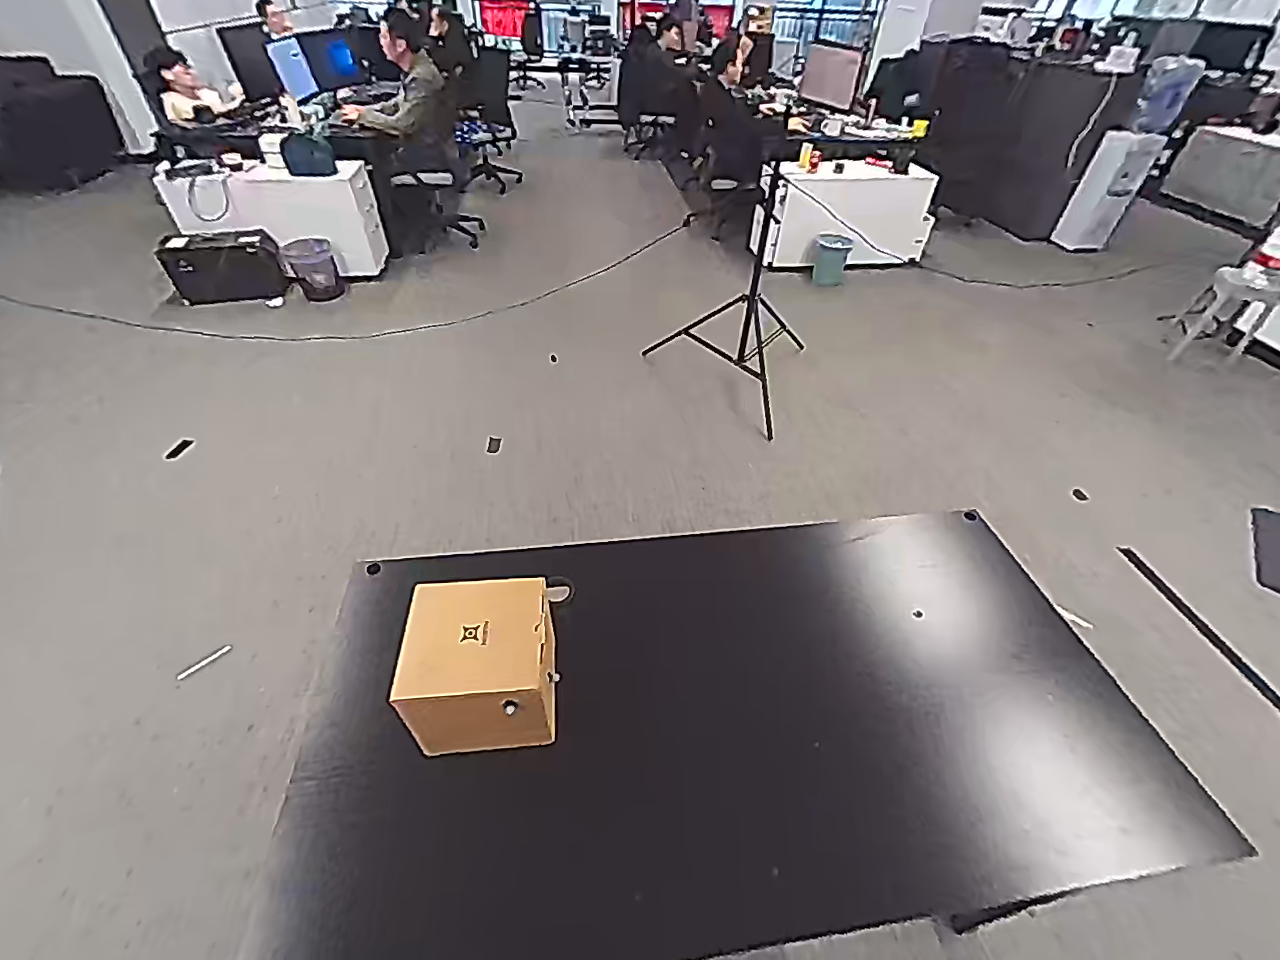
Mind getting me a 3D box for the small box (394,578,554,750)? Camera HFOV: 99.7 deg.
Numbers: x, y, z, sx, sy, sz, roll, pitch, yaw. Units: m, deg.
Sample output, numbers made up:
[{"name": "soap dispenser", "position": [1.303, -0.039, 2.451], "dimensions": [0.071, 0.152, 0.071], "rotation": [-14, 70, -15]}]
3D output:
[{"name": "small box", "position": [-0.215, 0.257, 0.752], "dimensions": [0.179, 0.176, 0.168], "rotation": [-3, 43, -7]}]
